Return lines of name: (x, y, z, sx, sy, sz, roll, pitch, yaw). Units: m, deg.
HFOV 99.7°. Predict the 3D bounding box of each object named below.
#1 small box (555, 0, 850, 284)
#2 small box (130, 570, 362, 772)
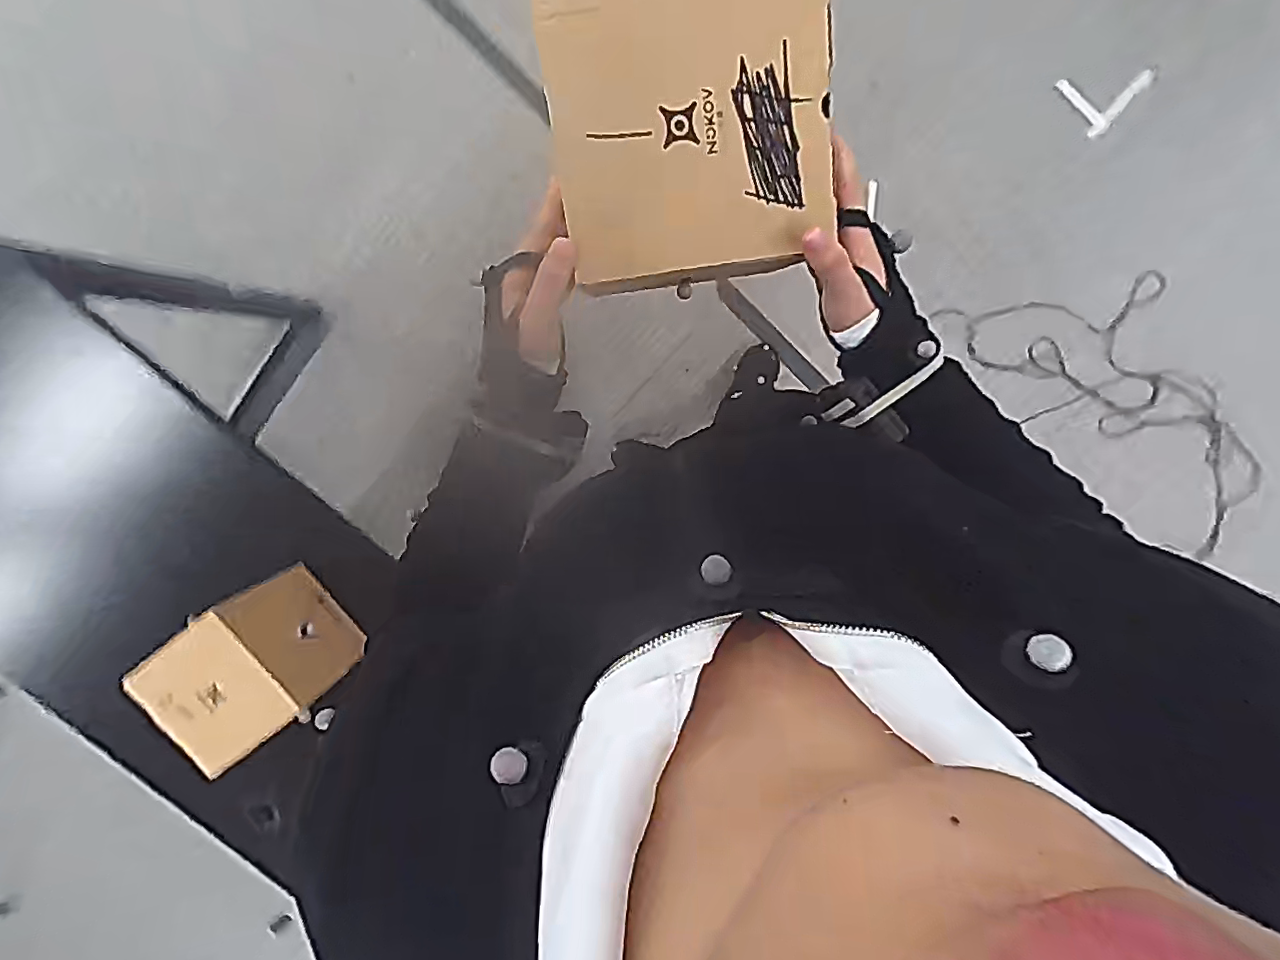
small box: (0.040, -0.247, 0.410, 0.179, 0.176, 0.168, -6, 106, 1)
small box: (-0.530, 0.255, 0.762, 0.179, 0.176, 0.168, -36, 96, 10)
